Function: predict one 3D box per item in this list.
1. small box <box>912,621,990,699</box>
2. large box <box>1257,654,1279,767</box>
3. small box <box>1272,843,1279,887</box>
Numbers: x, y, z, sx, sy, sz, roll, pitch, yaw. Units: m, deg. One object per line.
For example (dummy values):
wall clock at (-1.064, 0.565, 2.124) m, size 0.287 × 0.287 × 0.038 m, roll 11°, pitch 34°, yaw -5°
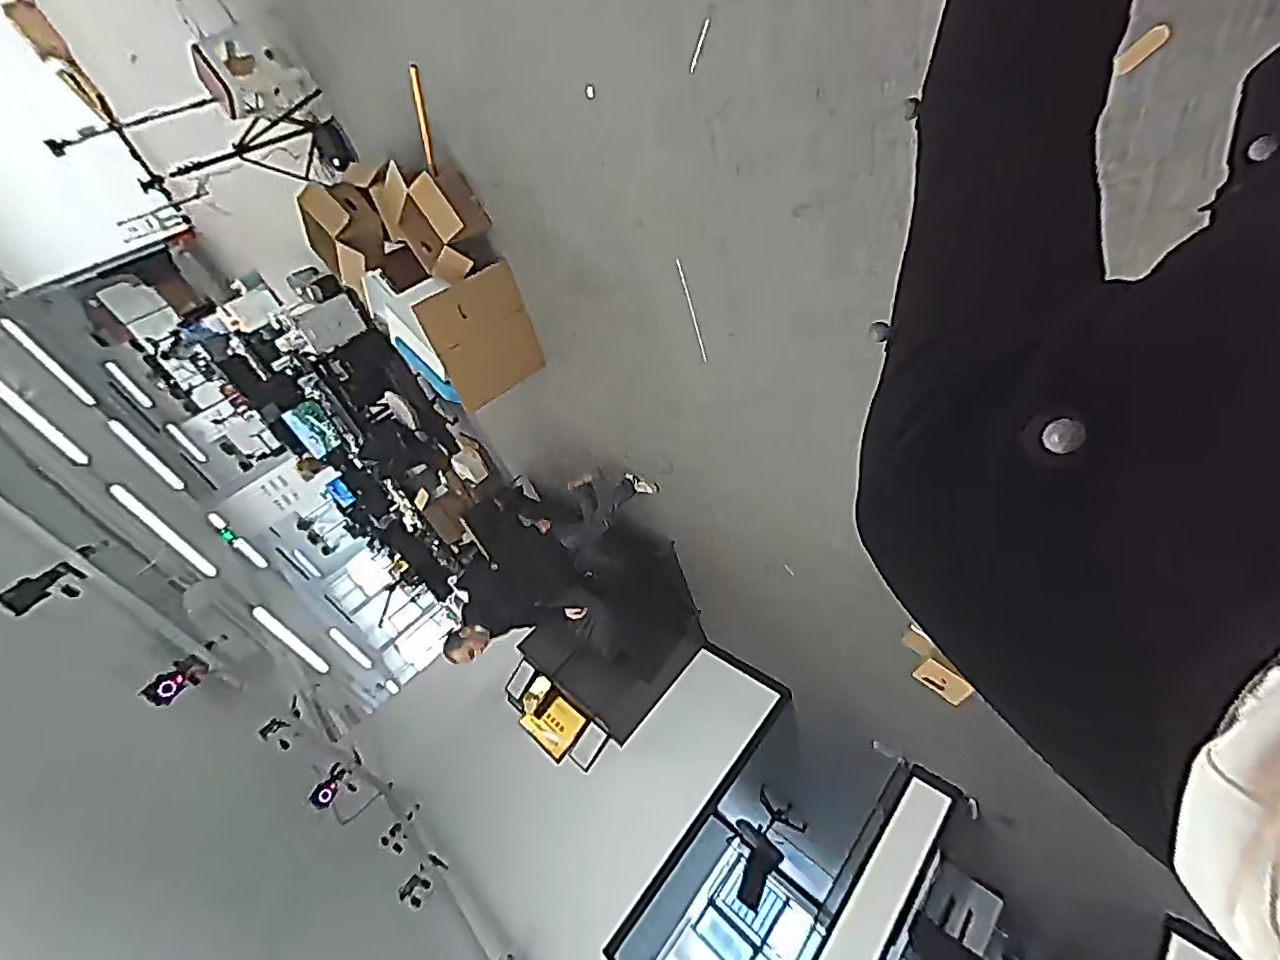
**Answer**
small box at (1.126, 0.649, 1.954) m, size 0.168 × 0.176 × 0.179 m, roll 34°, pitch 149°, yaw 26°
large box at (1.914, 0.661, 1.349) m, size 0.320 × 0.320 × 0.408 m, roll 49°, pitch 153°, yaw -7°
small box at (1.606, 0.914, 1.228) m, size 0.168 × 0.176 × 0.179 m, roll 52°, pitch 153°, yaw -11°
